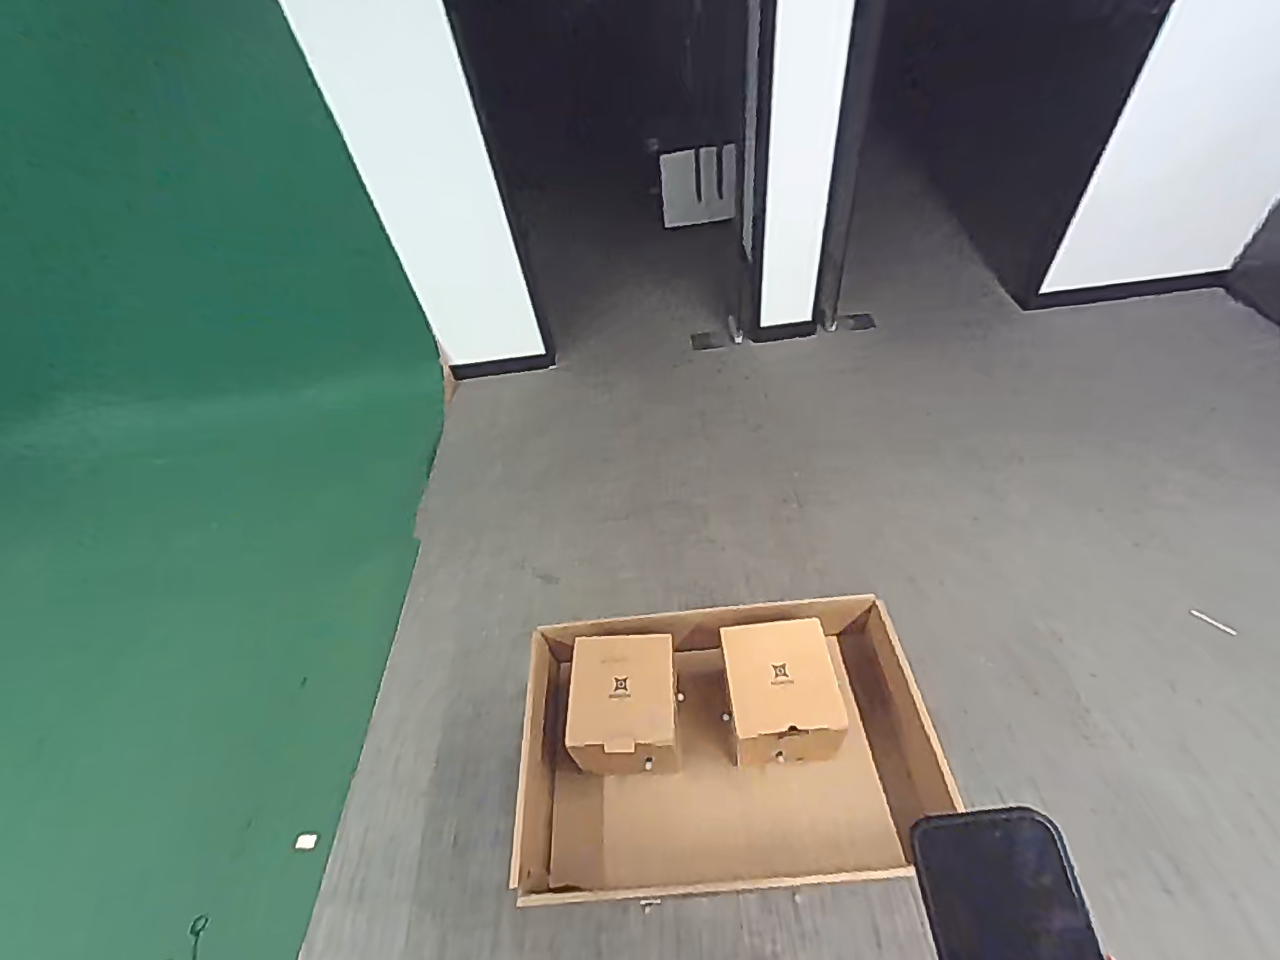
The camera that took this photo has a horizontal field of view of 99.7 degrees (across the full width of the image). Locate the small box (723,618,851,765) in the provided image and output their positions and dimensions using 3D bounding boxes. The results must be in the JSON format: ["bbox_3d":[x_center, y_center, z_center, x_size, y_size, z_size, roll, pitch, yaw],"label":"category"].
[{"bbox_3d":[0.230,0.351,0.896,0.168,0.176,0.179,-7,49,4],"label":"small box"}]
